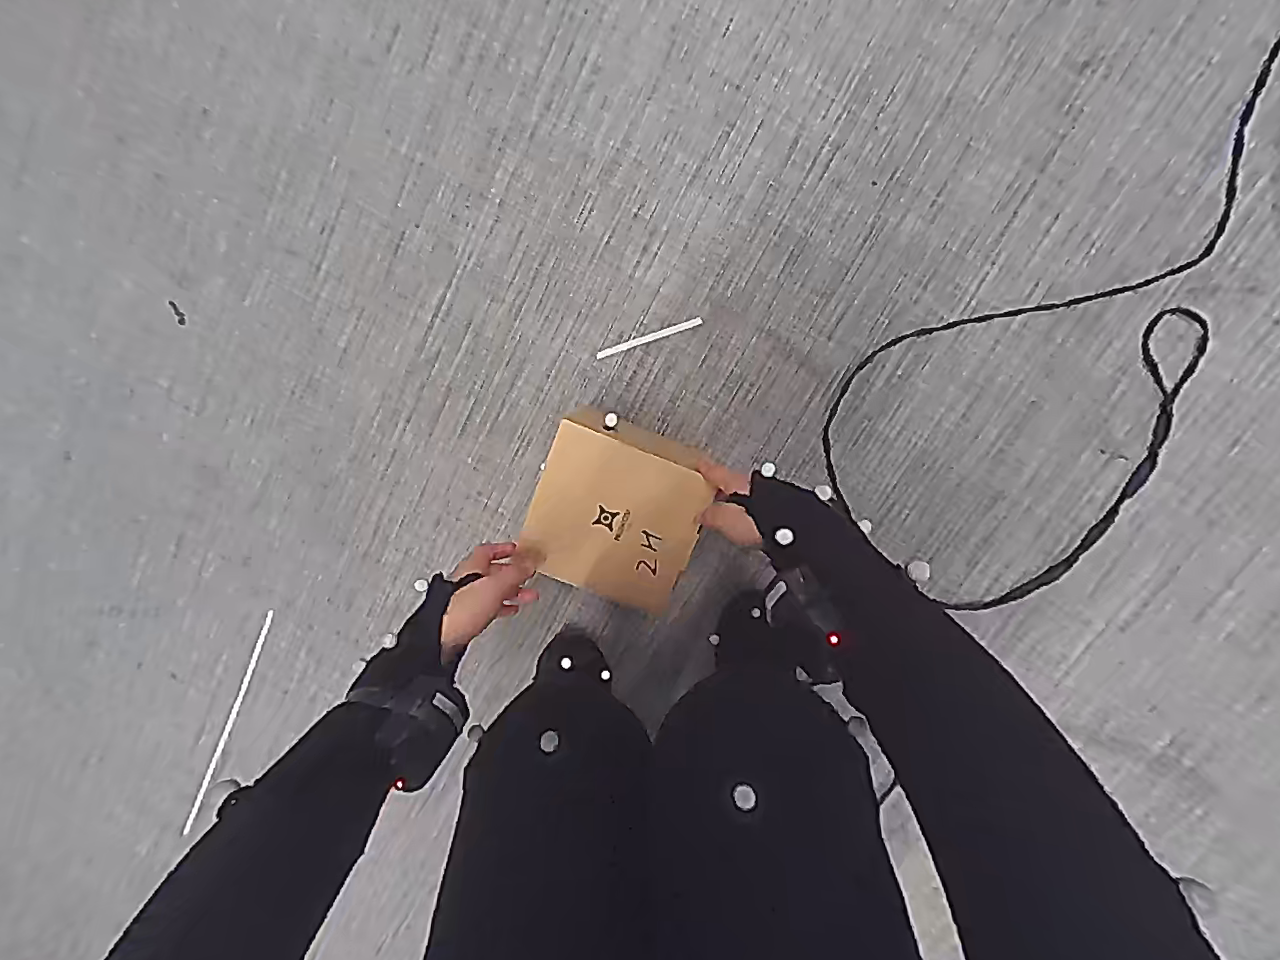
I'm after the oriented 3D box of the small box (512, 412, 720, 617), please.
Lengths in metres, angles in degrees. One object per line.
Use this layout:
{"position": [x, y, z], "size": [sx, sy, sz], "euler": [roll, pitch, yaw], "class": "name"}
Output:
{"position": [-0.024, 0.027, 0.637], "size": [0.179, 0.176, 0.168], "euler": [22, 103, -2], "class": "small box"}
